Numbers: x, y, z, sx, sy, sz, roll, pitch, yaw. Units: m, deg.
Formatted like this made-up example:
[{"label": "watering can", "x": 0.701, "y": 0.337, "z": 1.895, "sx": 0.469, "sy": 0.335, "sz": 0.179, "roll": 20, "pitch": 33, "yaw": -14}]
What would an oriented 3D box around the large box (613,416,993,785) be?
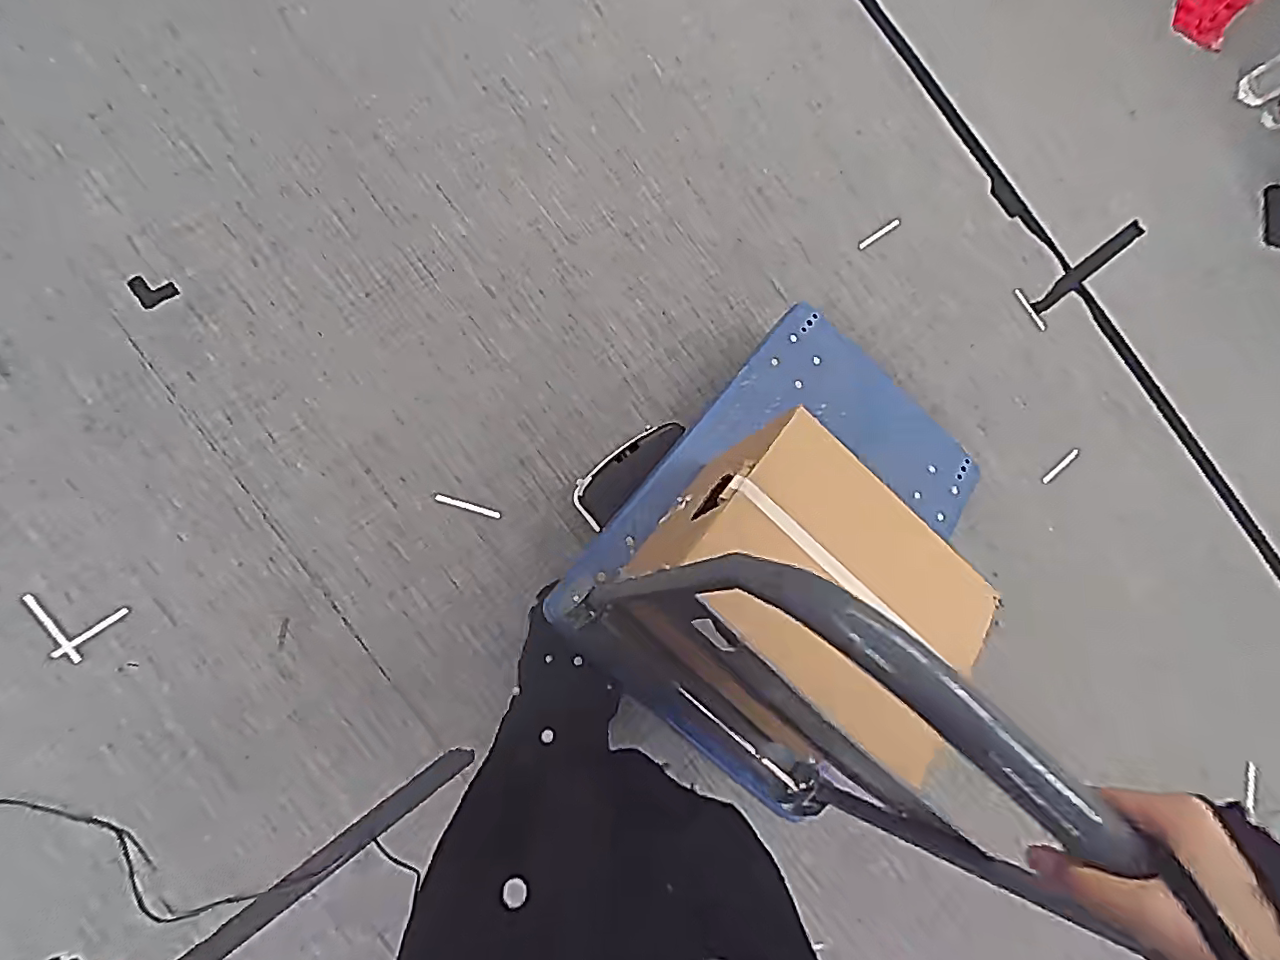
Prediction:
[{"label": "large box", "x": 0.230, "y": 0.179, "z": 0.844, "sx": 0.408, "sy": 0.320, "sz": 0.320, "roll": 42, "pitch": 67, "yaw": -4}]
